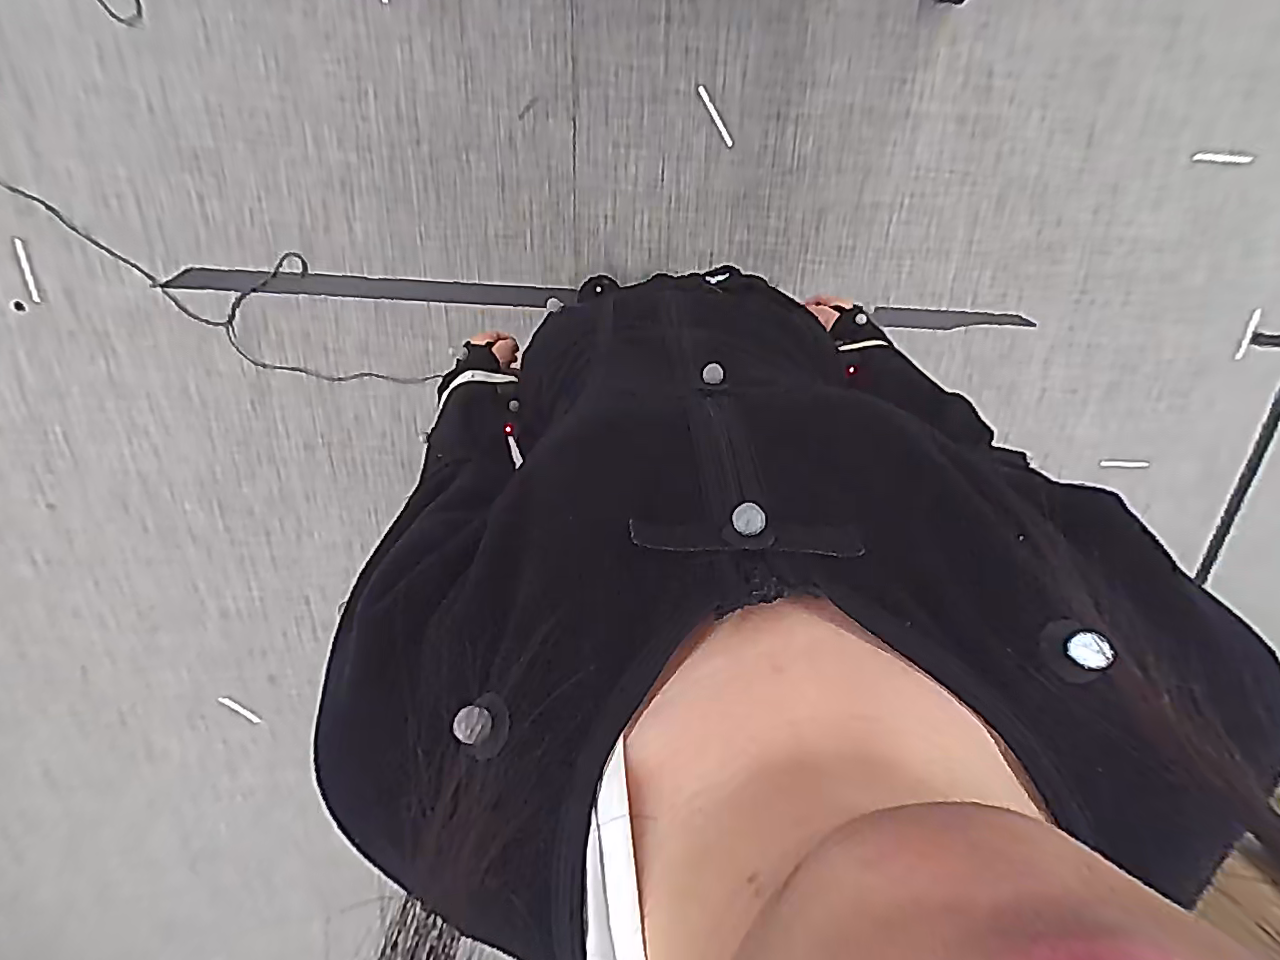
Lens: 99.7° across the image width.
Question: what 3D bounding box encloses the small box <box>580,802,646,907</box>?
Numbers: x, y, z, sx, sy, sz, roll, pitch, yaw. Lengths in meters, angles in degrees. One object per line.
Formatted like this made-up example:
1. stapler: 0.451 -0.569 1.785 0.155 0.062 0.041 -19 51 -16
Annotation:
1. small box: -0.071 1.021 1.481 0.168 0.176 0.179 -4 110 -2

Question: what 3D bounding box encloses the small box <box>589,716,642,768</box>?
1. small box: -0.082 0.902 1.787 0.168 0.176 0.179 -3 111 -3

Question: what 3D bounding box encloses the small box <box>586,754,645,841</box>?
1. small box: -0.071 0.963 1.635 0.168 0.176 0.179 -4 112 -2
